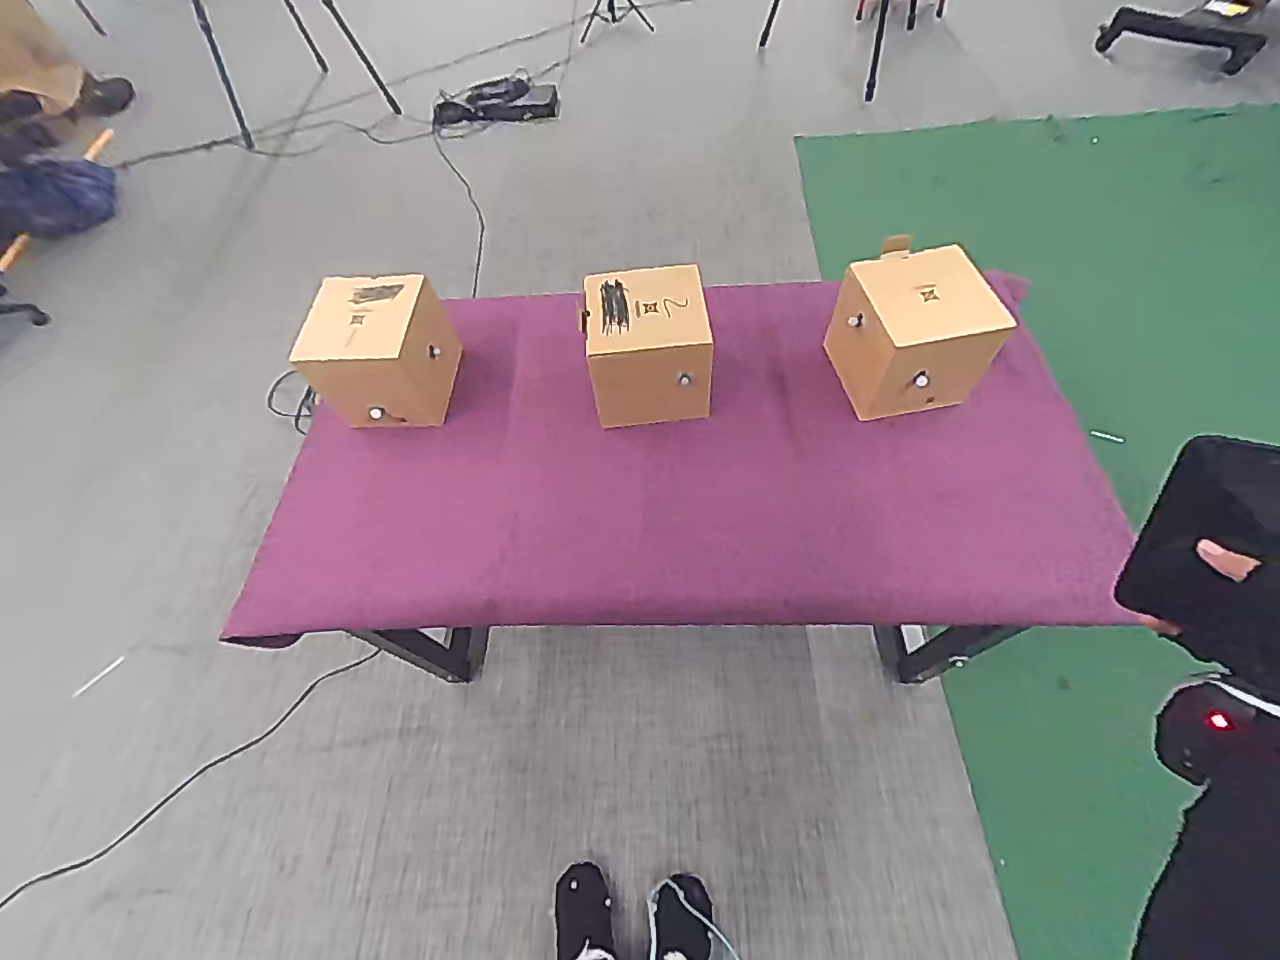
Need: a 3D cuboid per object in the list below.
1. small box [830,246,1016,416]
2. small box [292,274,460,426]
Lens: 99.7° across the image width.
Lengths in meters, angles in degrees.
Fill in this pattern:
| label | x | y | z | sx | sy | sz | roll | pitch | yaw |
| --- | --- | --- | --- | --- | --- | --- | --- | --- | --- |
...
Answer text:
| label | x | y | z | sx | sy | sz | roll | pitch | yaw |
| --- | --- | --- | --- | --- | --- | --- | --- | --- | --- |
| small box | 0.406 | -0.213 | 0.813 | 0.168 | 0.176 | 0.179 | -10 | 59 | -1 |
| small box | -0.407 | -0.207 | 0.873 | 0.168 | 0.176 | 0.179 | 0 | 61 | 5 |
